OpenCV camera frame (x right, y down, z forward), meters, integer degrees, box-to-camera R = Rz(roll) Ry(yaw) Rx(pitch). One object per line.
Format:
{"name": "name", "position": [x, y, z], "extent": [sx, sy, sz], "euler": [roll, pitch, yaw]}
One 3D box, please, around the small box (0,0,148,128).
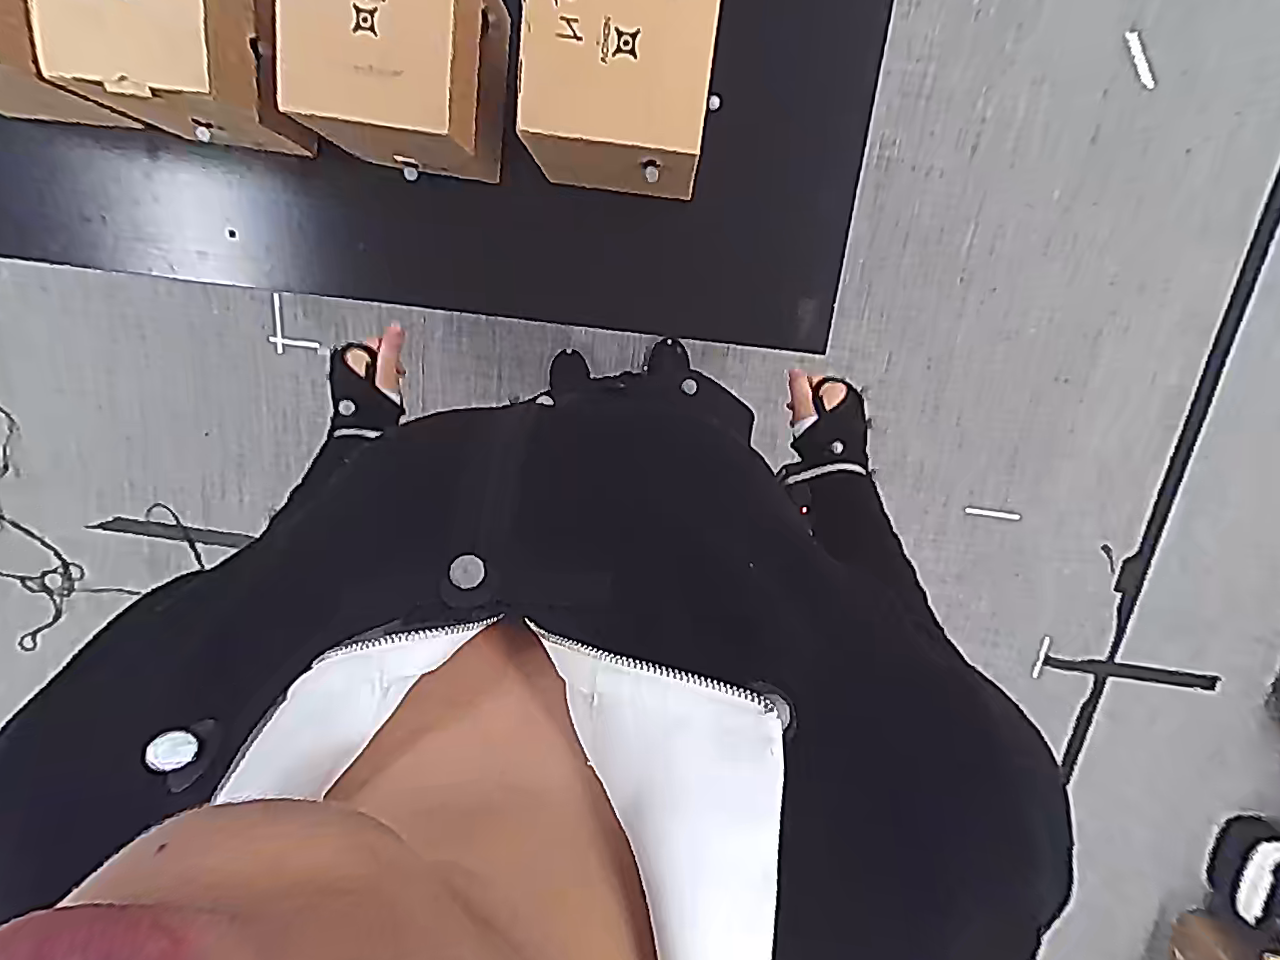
{"name": "small box", "position": [-0.679, -0.498, 0.571], "extent": [0.179, 0.176, 0.168], "euler": [5, 104, -1]}

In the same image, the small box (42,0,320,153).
{"name": "small box", "position": [-0.465, -0.473, 0.572], "extent": [0.168, 0.176, 0.179], "euler": [8, 105, 0]}

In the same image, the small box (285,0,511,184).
{"name": "small box", "position": [-0.242, -0.442, 0.575], "extent": [0.168, 0.176, 0.179], "euler": [8, 105, 1]}
